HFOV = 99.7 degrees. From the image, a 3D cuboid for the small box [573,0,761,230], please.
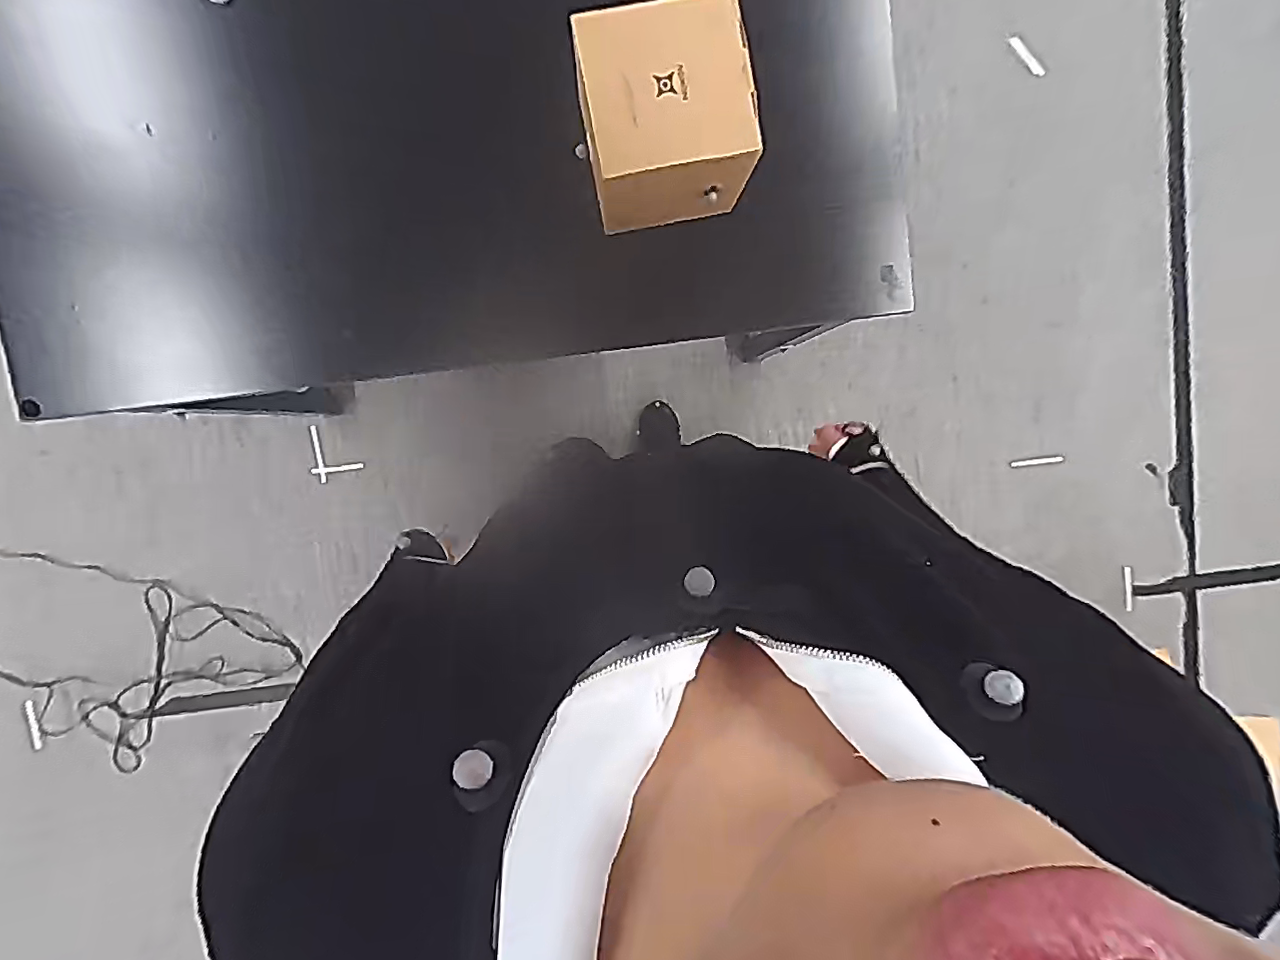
[{"bbox_3d":[0.026,-0.422,0.643,0.179,0.176,0.168,-12,95,0],"label":"small box"}]
